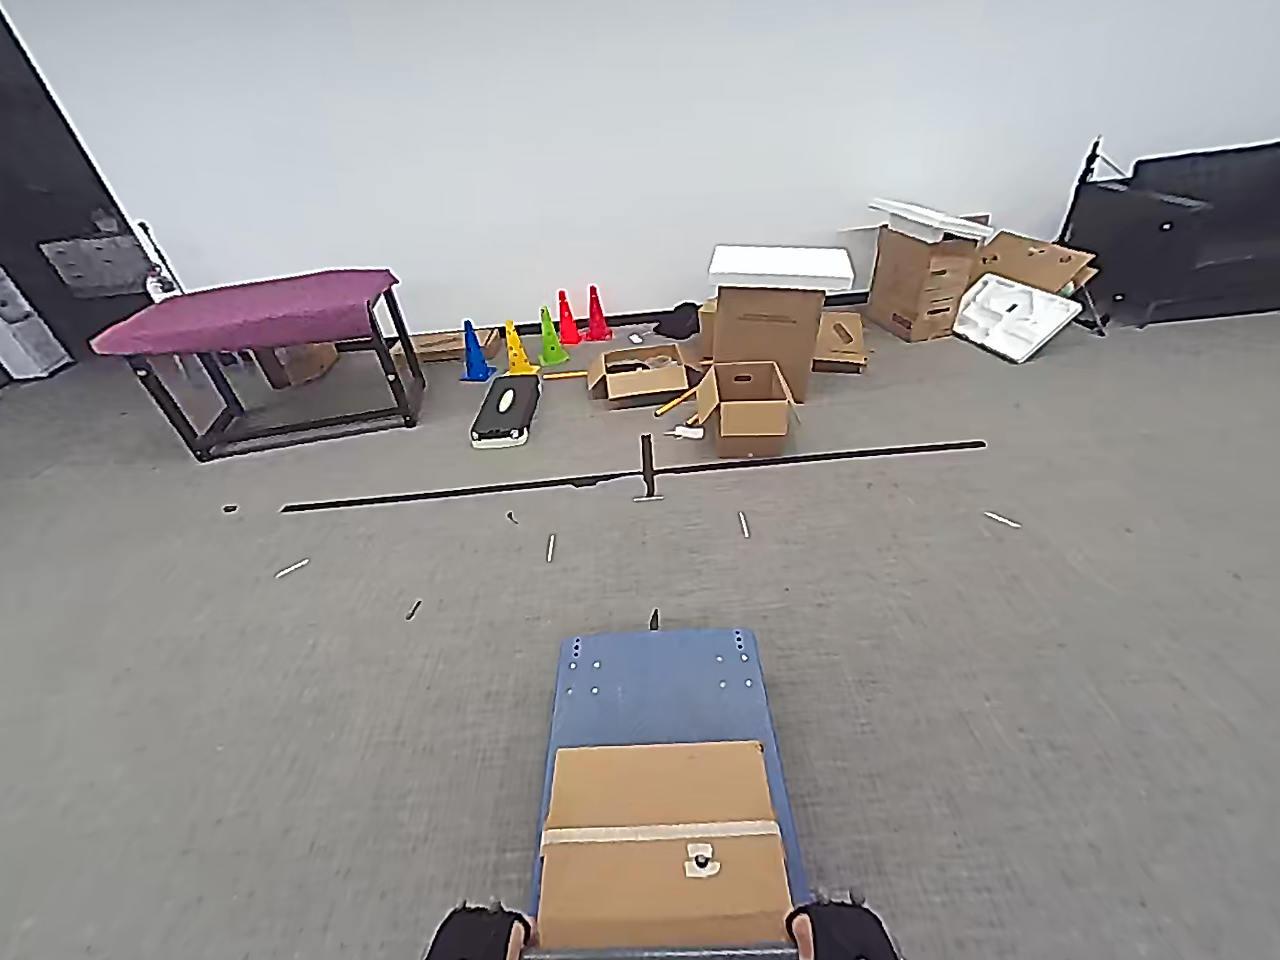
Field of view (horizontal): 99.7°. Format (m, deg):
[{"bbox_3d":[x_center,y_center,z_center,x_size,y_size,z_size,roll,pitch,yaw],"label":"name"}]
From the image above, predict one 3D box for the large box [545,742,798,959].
[{"bbox_3d":[0.051,0.742,1.042,0.408,0.320,0.320,-3,38,1],"label":"large box"}]
